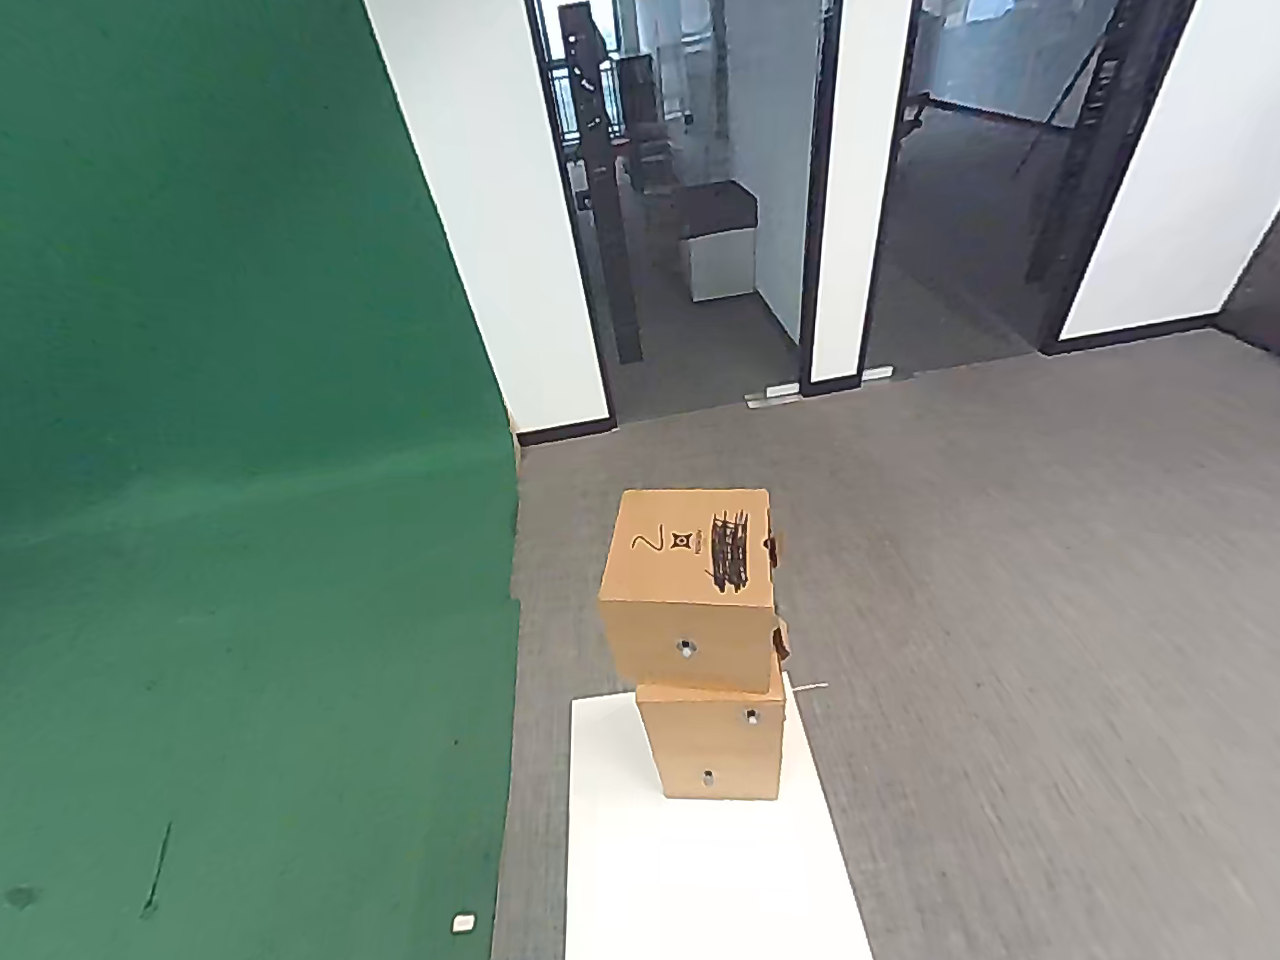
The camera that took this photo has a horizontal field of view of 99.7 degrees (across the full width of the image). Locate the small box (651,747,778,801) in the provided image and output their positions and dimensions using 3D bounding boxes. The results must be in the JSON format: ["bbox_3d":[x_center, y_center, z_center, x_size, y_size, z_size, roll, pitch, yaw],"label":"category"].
[{"bbox_3d":[0.117,0.382,0.842,0.179,0.176,0.168,-4,41,8],"label":"small box"}]

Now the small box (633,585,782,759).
[{"bbox_3d":[0.092,0.263,0.734,0.179,0.176,0.168,-4,41,7],"label":"small box"}]
